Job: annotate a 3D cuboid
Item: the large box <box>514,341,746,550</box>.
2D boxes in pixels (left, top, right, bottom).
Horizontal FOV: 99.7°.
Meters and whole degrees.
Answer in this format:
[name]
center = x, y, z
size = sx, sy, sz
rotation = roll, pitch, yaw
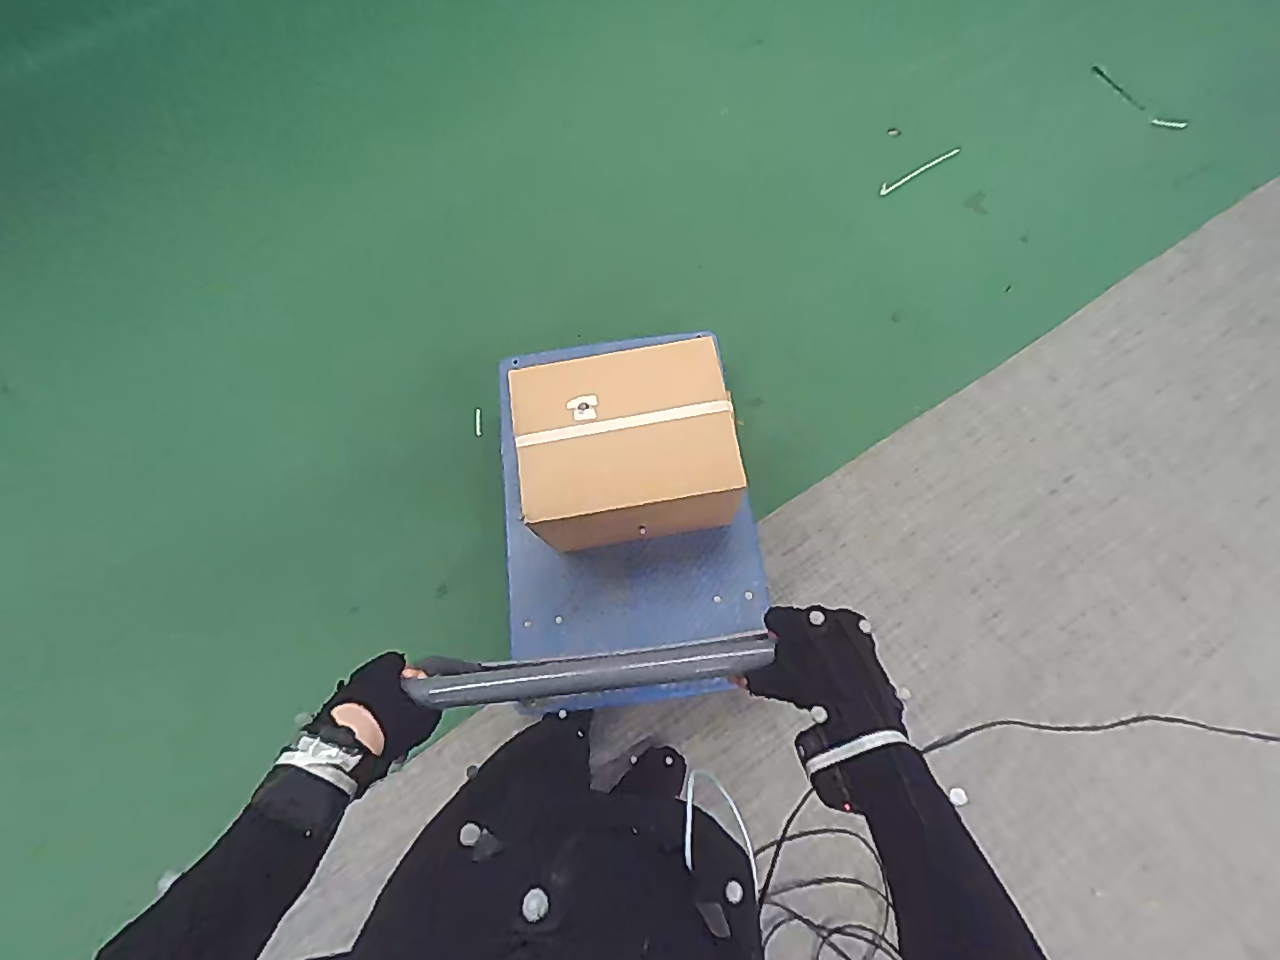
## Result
[large box]
center = -0.017, -0.052, 1.160
size = 0.408, 0.320, 0.320
rotation = -10, 72, 1
